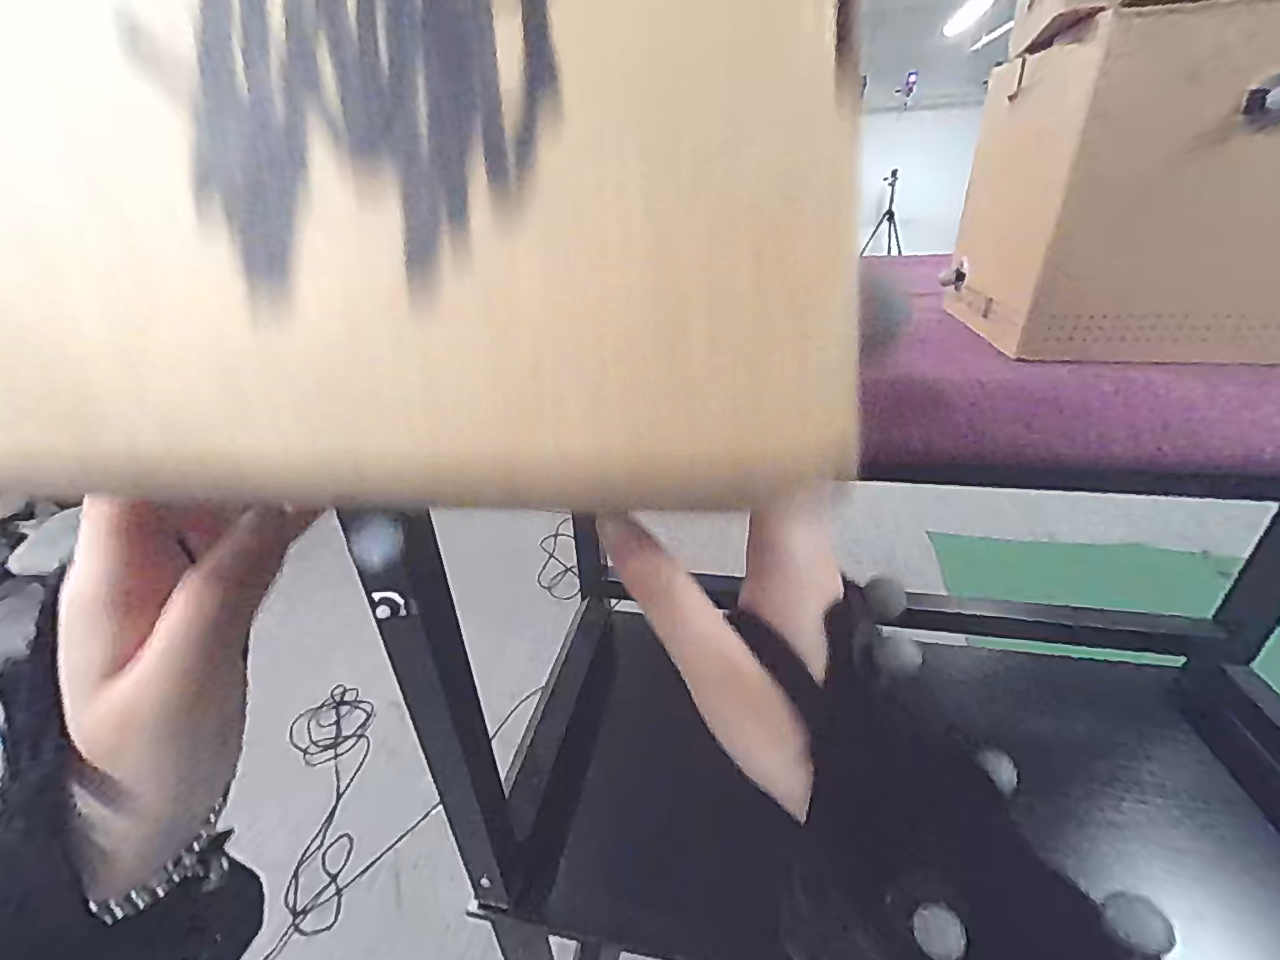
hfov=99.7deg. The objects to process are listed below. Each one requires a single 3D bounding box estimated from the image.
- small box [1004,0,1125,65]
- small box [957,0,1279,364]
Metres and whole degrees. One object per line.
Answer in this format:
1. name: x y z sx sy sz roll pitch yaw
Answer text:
1. small box: 0.308 -0.318 0.258 0.179 0.176 0.168 8 30 21
2. small box: 0.319 -0.175 0.335 0.179 0.176 0.168 4 29 12
